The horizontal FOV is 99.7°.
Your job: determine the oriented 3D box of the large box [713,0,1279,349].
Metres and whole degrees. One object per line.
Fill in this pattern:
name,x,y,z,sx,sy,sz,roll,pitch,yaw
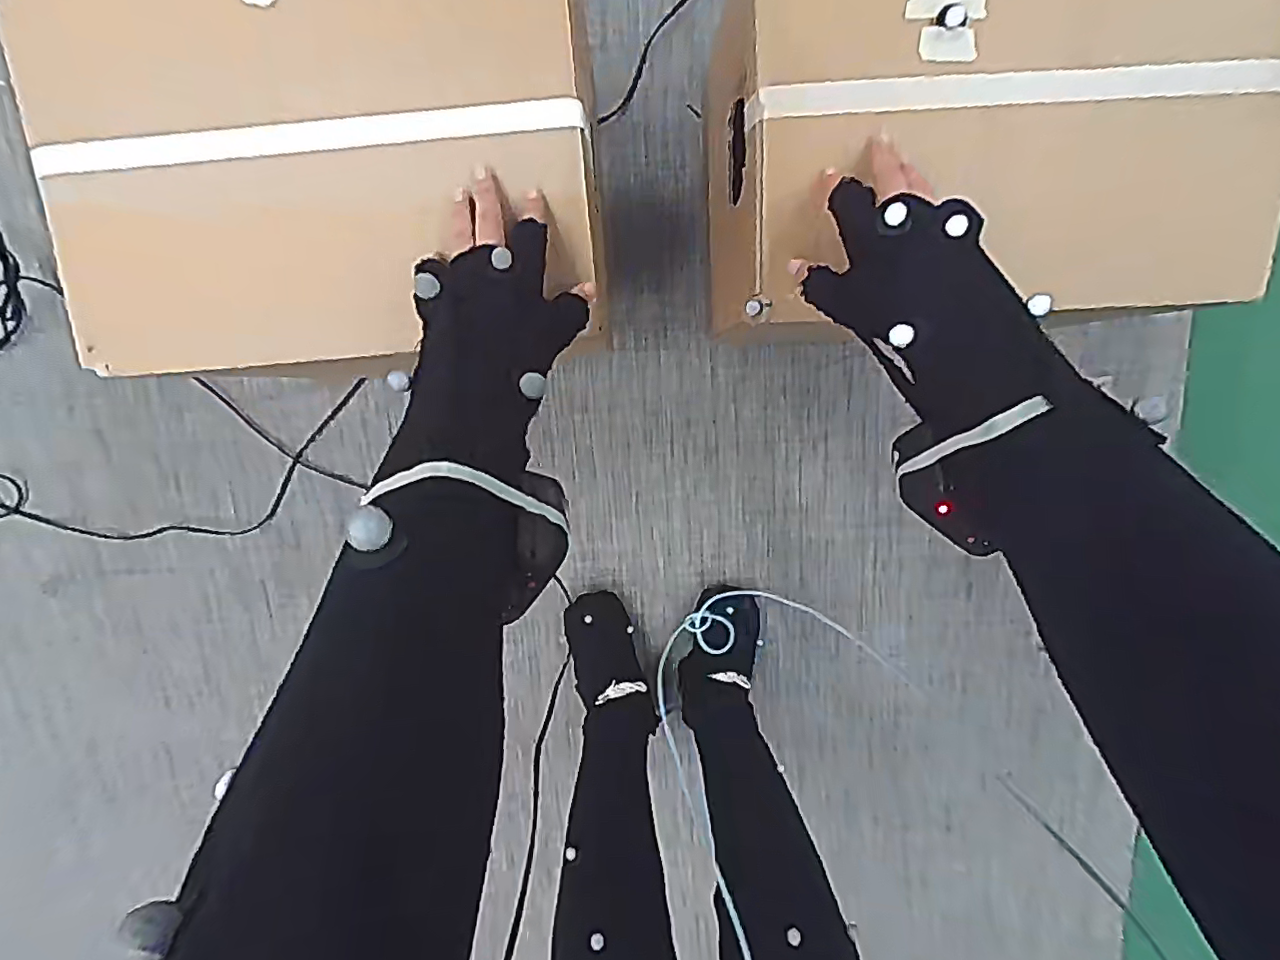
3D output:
large box,0.297,-0.310,0.576,0.408,0.320,0.320,-2,100,1
